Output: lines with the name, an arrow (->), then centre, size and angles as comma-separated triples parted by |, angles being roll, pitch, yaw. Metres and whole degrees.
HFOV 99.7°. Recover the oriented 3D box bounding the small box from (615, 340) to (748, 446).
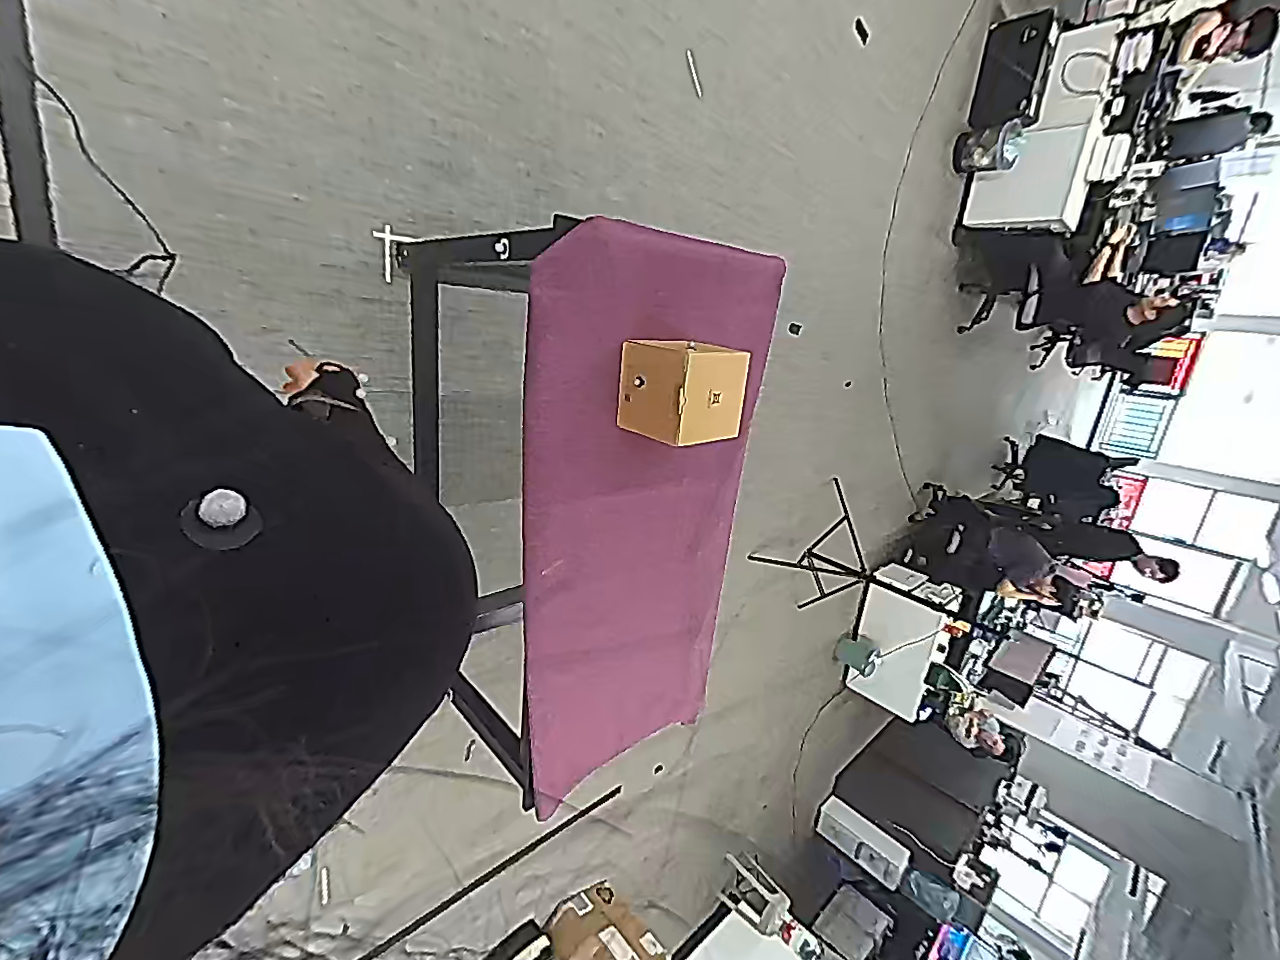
small box -> 0.077, -0.174, 1.037 | 0.179, 0.176, 0.168 | -12, 116, -41
